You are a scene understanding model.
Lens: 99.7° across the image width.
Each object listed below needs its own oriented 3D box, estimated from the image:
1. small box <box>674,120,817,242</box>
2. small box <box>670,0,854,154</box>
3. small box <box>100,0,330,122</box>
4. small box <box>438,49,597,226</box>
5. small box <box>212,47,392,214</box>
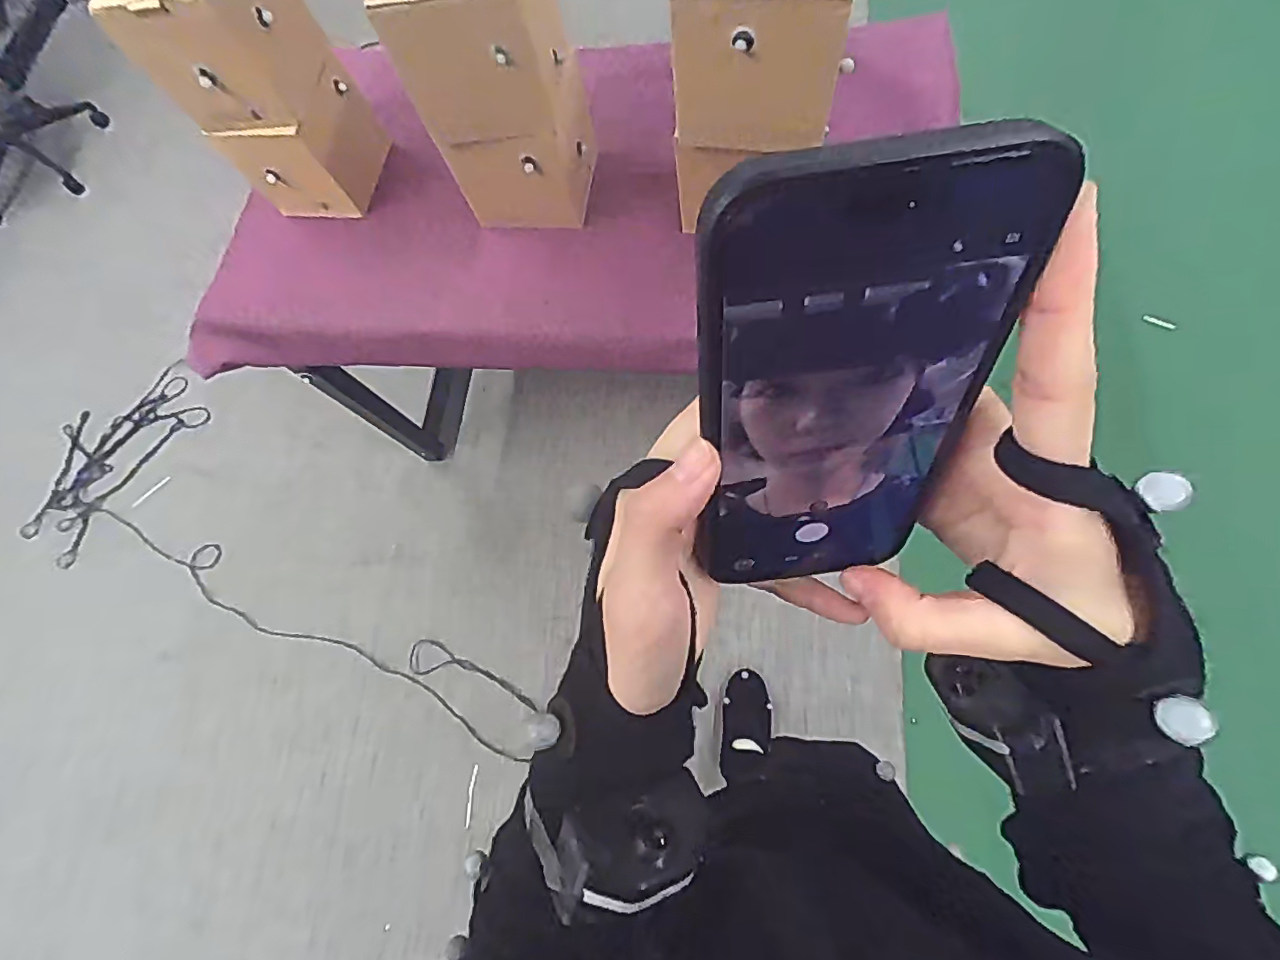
[{"bbox_3d":[0.158,-0.466,0.768,0.179,0.176,0.168,12,74,12],"label":"small box"},{"bbox_3d":[0.141,-0.501,0.609,0.179,0.176,0.168,12,74,11],"label":"small box"},{"bbox_3d":[-0.573,-0.635,0.757,0.168,0.176,0.179,2,73,8],"label":"small box"},{"bbox_3d":[-0.173,-0.516,0.832,0.179,0.176,0.168,6,73,10],"label":"small box"},{"bbox_3d":[-0.552,-0.577,0.909,0.168,0.176,0.179,7,73,11],"label":"small box"}]
